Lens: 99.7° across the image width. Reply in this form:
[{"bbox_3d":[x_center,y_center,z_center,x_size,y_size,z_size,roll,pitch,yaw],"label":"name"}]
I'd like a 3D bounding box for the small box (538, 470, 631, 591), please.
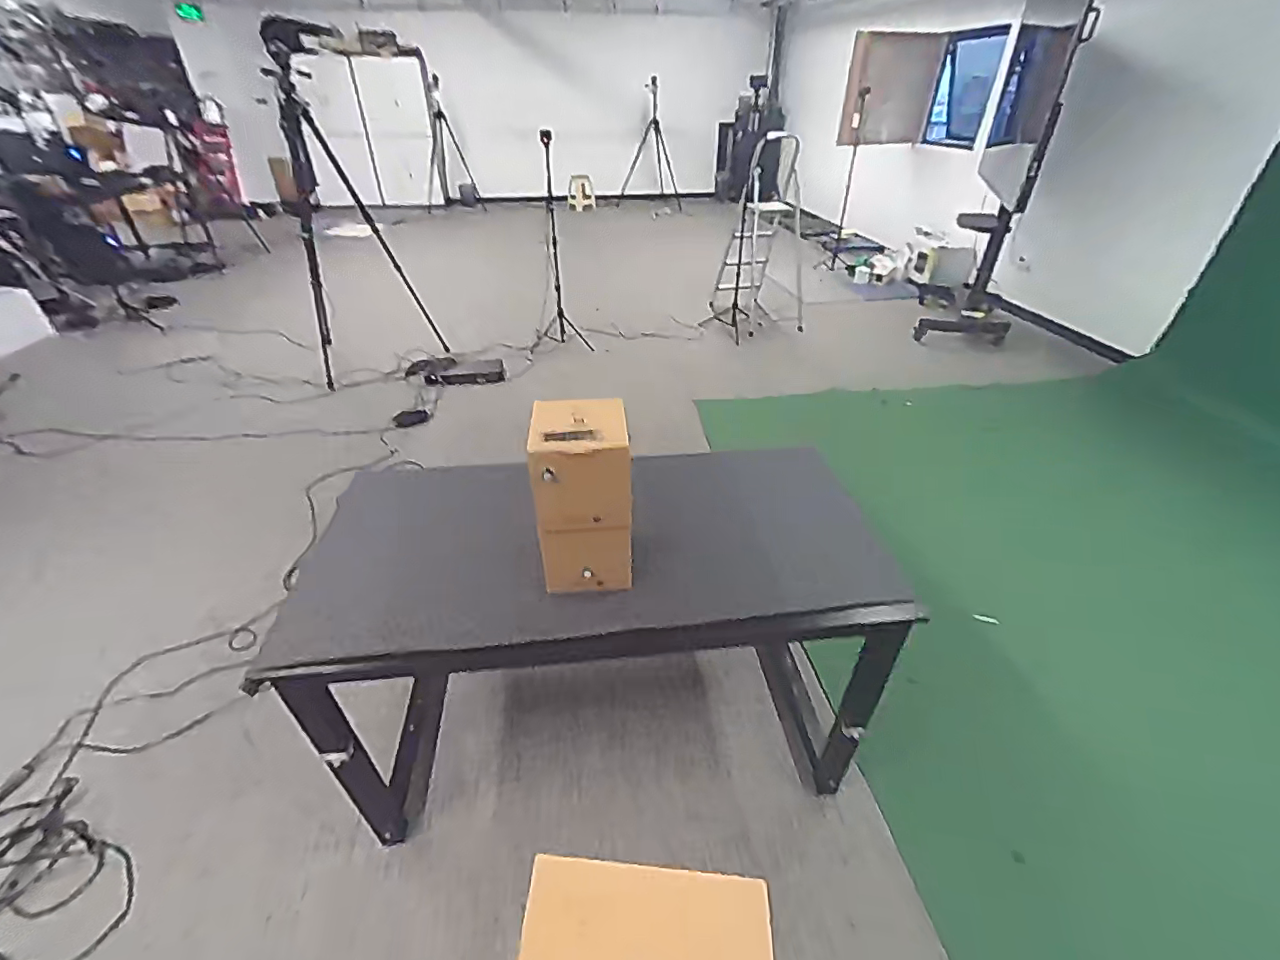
[{"bbox_3d":[-0.106,0.097,1.070,0.168,0.176,0.179,-3,35,-4],"label":"small box"}]
